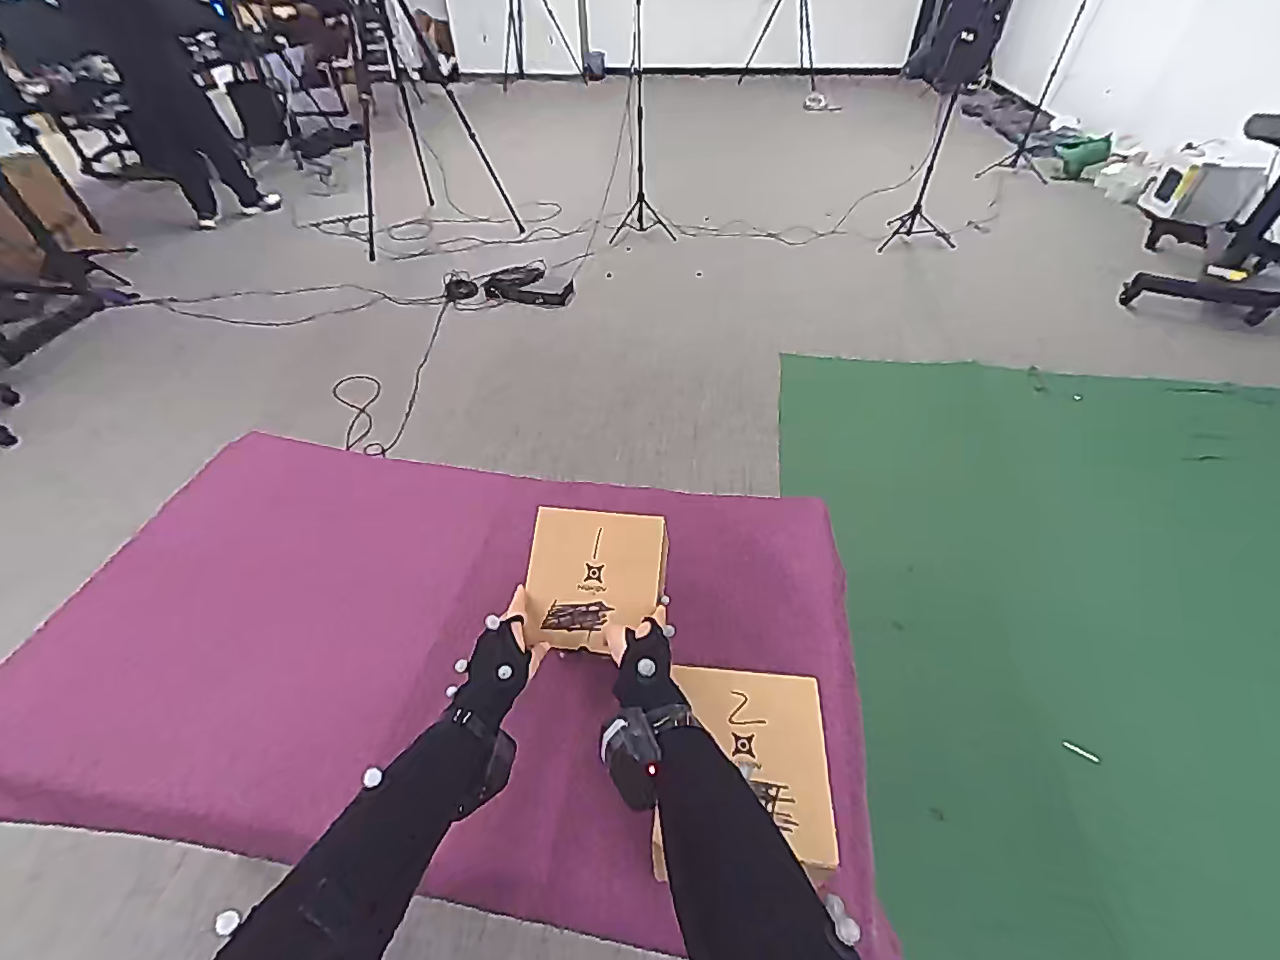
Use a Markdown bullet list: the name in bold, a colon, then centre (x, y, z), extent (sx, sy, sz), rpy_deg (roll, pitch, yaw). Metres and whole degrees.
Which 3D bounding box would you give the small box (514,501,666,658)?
- **small box**: centre (-0.055, 0.141, 0.735), extent (0.168, 0.176, 0.179), rpy_deg (5, 72, 6)
